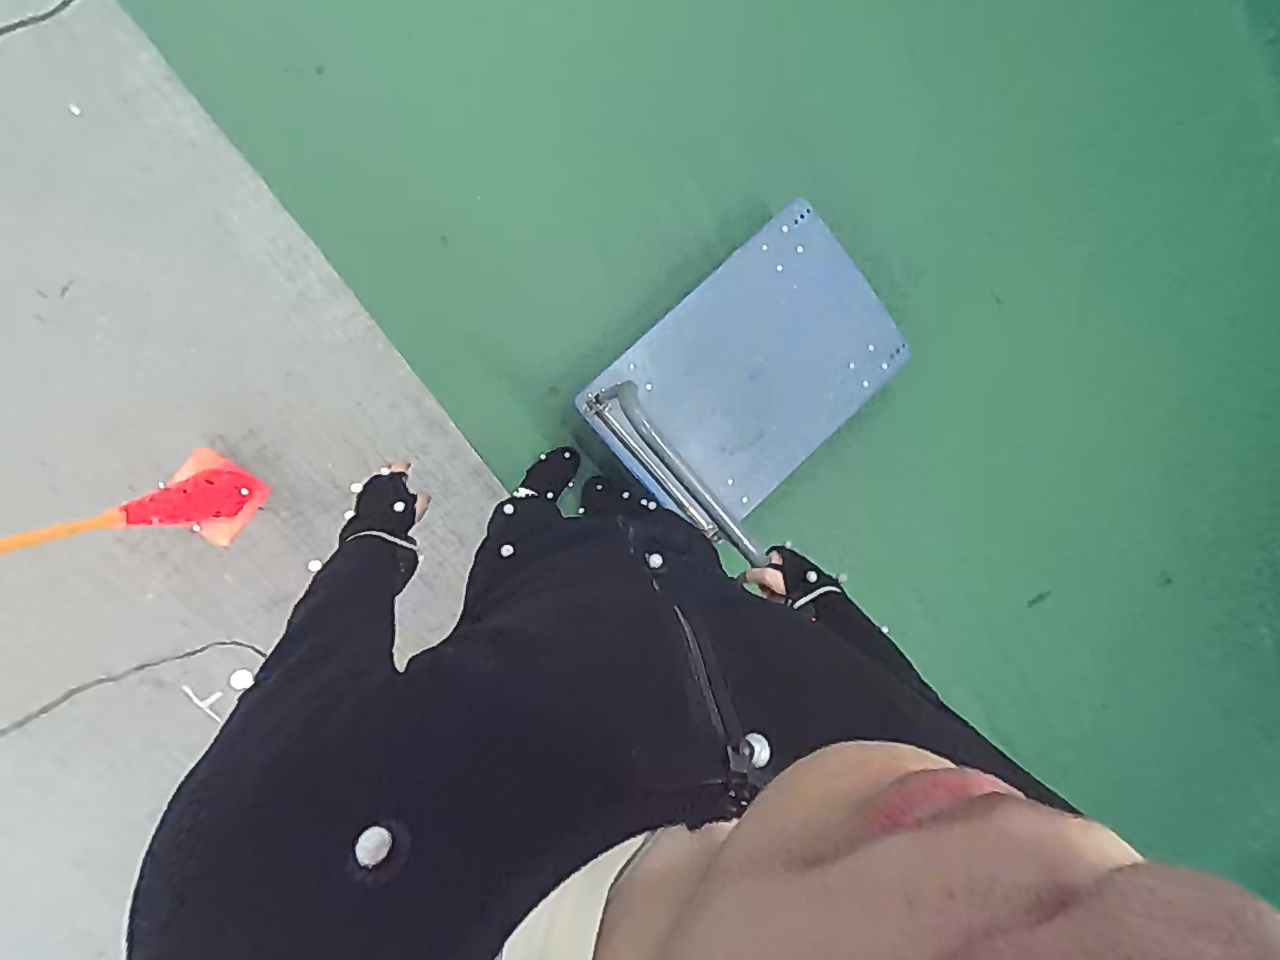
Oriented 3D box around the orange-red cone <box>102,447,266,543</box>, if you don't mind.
[{"bbox_3d":[-1.081,0.051,1.241,0.199,0.360,0.198,39,86,-11],"label":"orange-red cone"}]
